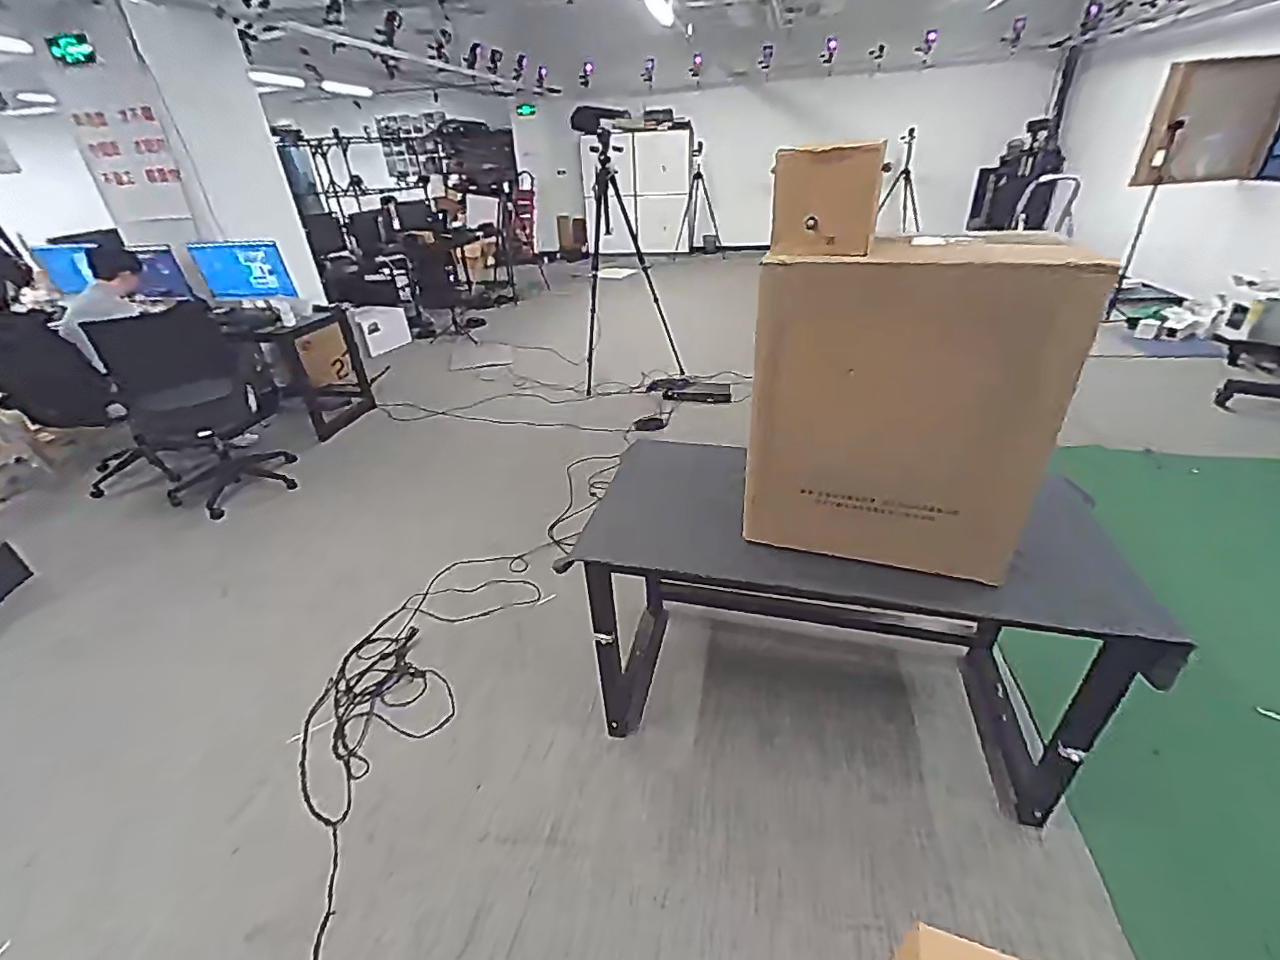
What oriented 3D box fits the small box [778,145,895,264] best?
[{"bbox_3d":[0.348,-0.495,0.967,0.168,0.176,0.179,10,36,22],"label":"small box"}]
